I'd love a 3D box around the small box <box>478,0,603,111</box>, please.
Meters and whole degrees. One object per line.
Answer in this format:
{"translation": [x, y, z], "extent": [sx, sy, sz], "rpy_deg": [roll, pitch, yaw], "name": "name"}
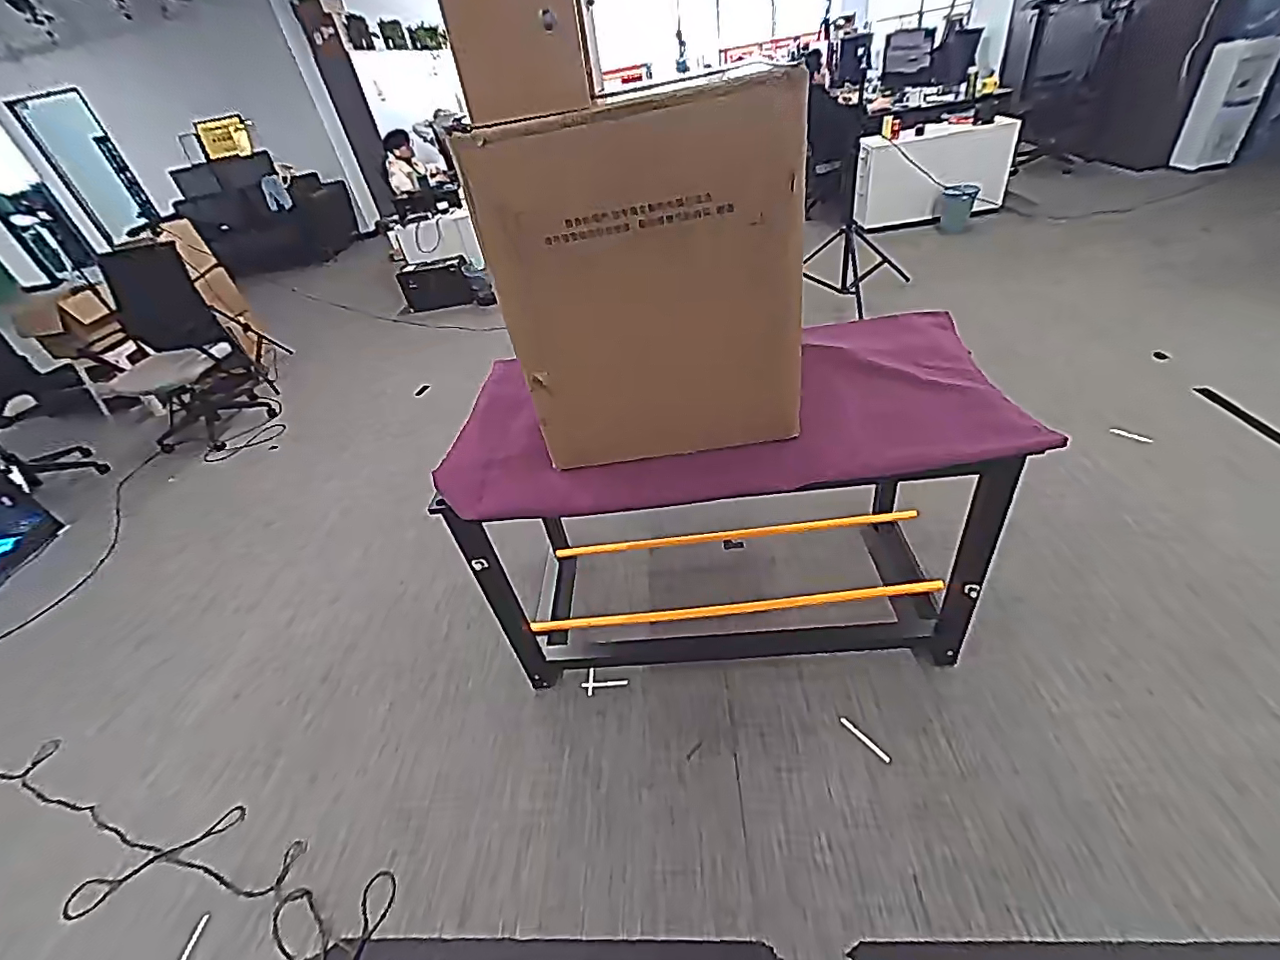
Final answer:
{"translation": [-0.164, -0.769, 0.958], "extent": [0.168, 0.176, 0.179], "rpy_deg": [-4, 38, 7], "name": "small box"}
